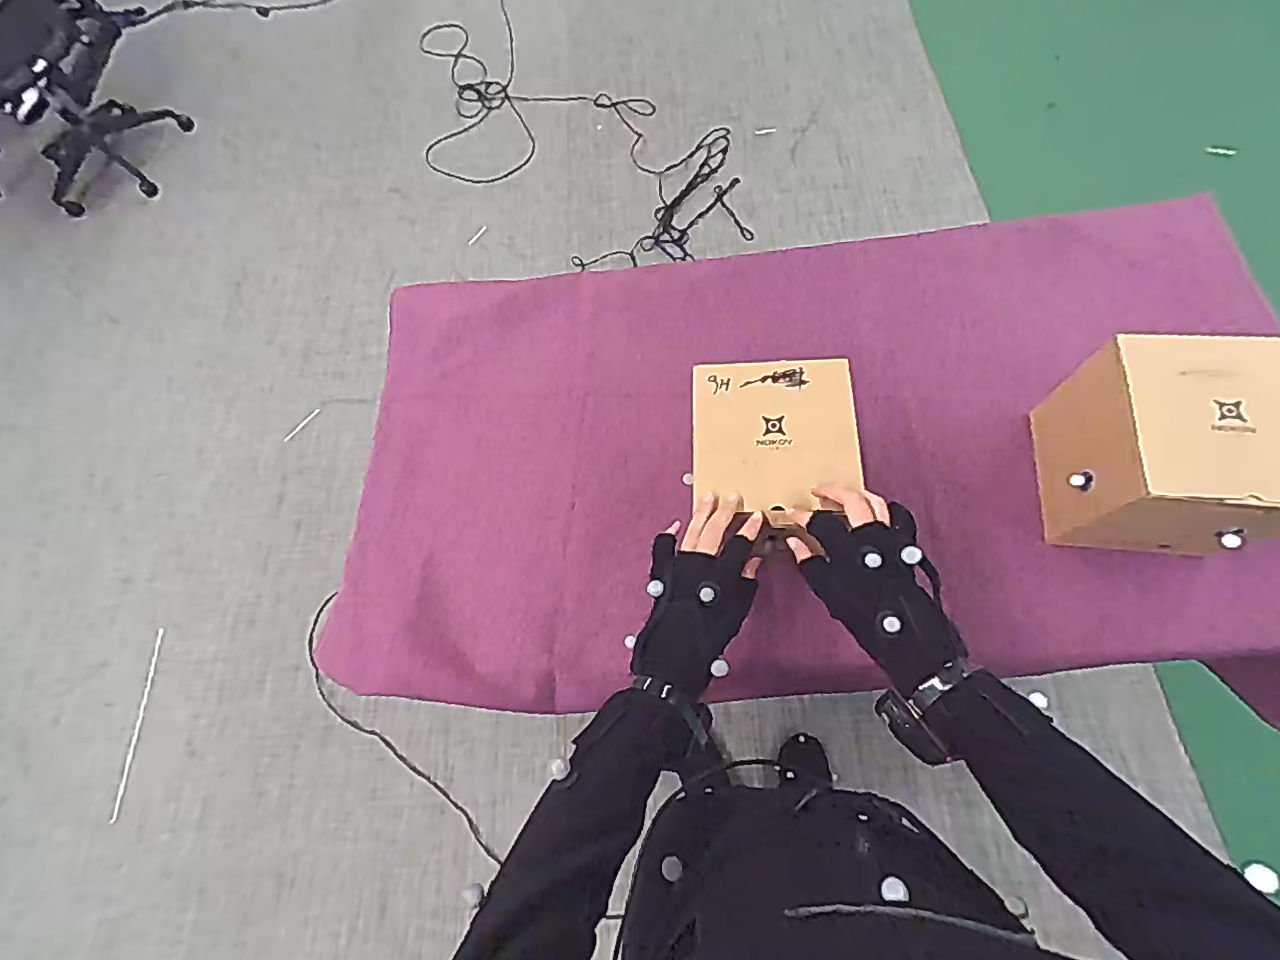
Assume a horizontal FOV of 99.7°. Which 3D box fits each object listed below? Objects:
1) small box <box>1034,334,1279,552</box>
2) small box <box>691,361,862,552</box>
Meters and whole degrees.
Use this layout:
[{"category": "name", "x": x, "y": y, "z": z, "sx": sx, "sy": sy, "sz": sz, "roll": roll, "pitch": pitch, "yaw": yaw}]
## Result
[{"category": "small box", "x": 0.553, "y": -0.030, "z": 0.569, "sx": 0.168, "sy": 0.176, "sz": 0.179, "roll": 5, "pitch": 69, "yaw": 11}, {"category": "small box", "x": 0.148, "y": -0.017, "z": 0.627, "sx": 0.168, "sy": 0.176, "sz": 0.179, "roll": -1, "pitch": 69, "yaw": 8}]
